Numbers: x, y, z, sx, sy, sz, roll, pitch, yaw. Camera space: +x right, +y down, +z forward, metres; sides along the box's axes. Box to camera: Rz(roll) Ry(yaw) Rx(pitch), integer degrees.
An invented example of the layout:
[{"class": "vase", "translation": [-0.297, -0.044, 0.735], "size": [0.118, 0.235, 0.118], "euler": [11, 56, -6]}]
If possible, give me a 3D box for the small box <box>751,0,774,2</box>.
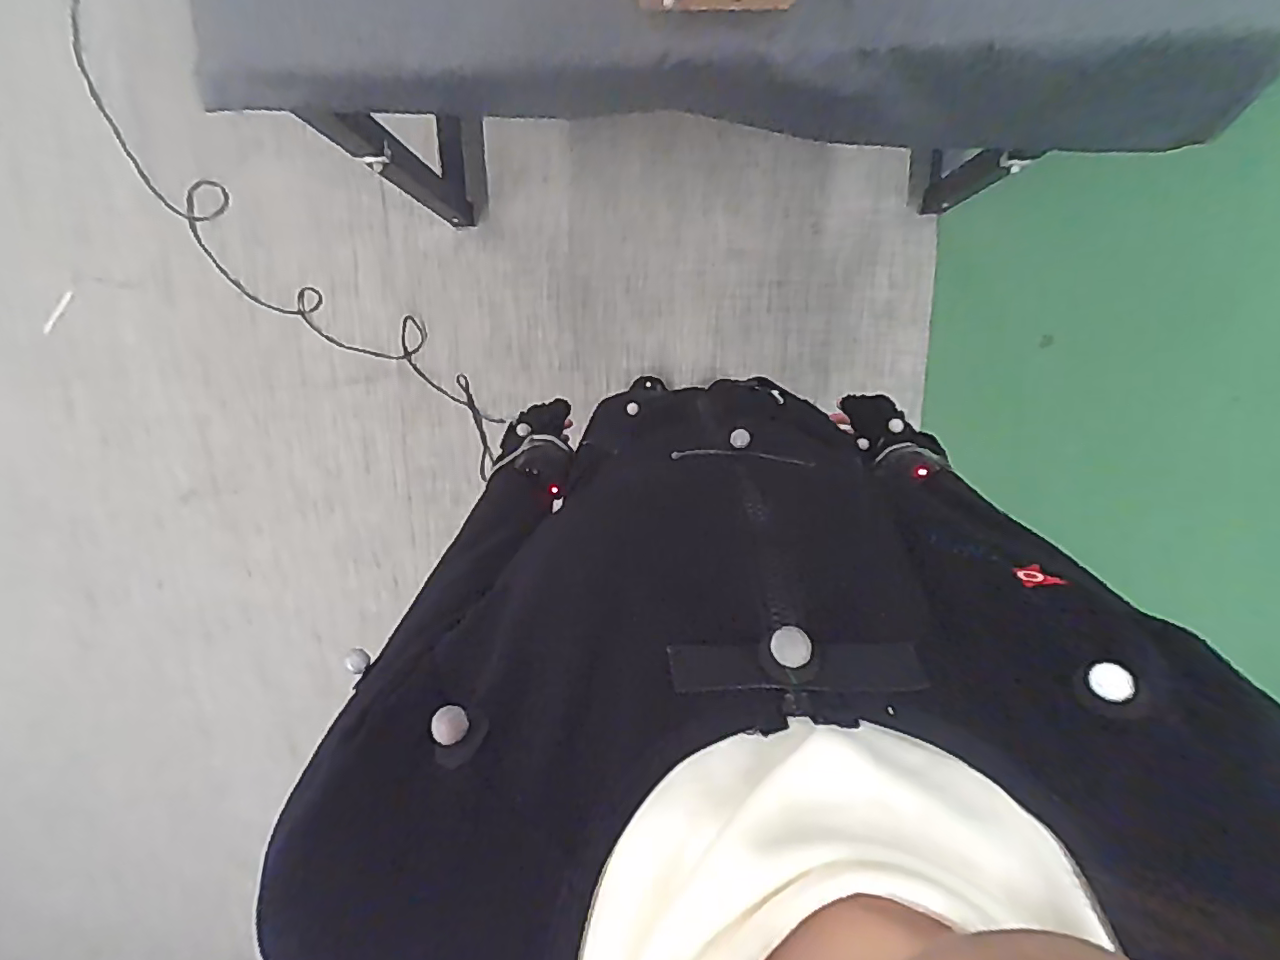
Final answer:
[{"class": "small box", "translation": [0.079, -0.595, 0.505], "size": [0.168, 0.176, 0.179], "euler": [1, 99, 2]}]
